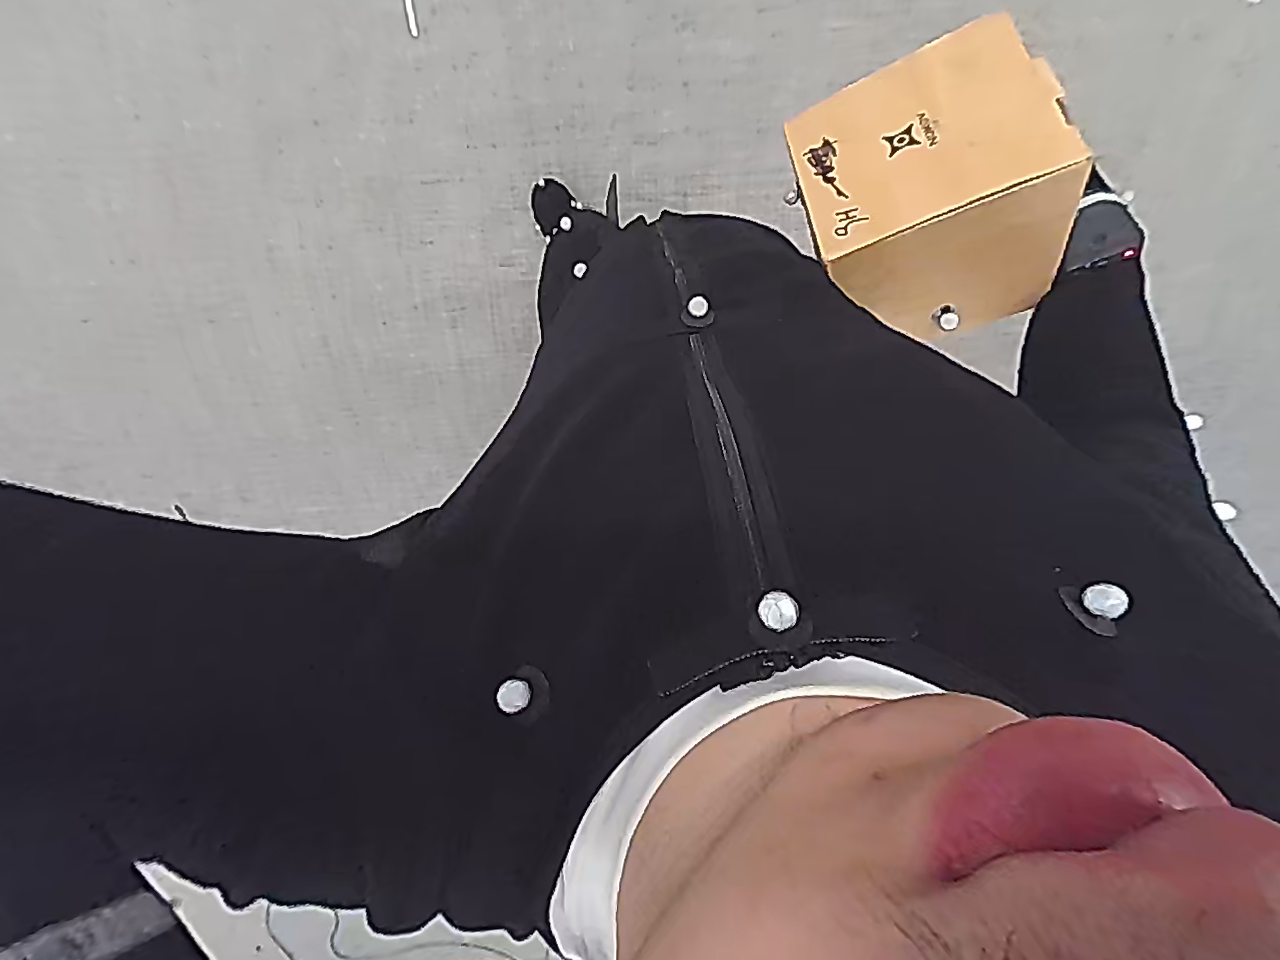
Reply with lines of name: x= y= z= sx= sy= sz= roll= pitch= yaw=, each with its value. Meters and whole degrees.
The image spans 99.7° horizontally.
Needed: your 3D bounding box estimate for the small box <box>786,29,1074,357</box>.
small box: x=0.252 y=-0.244 z=0.504 sx=0.179 sy=0.168 sz=0.176 roll=-16 pitch=155 yaw=22
